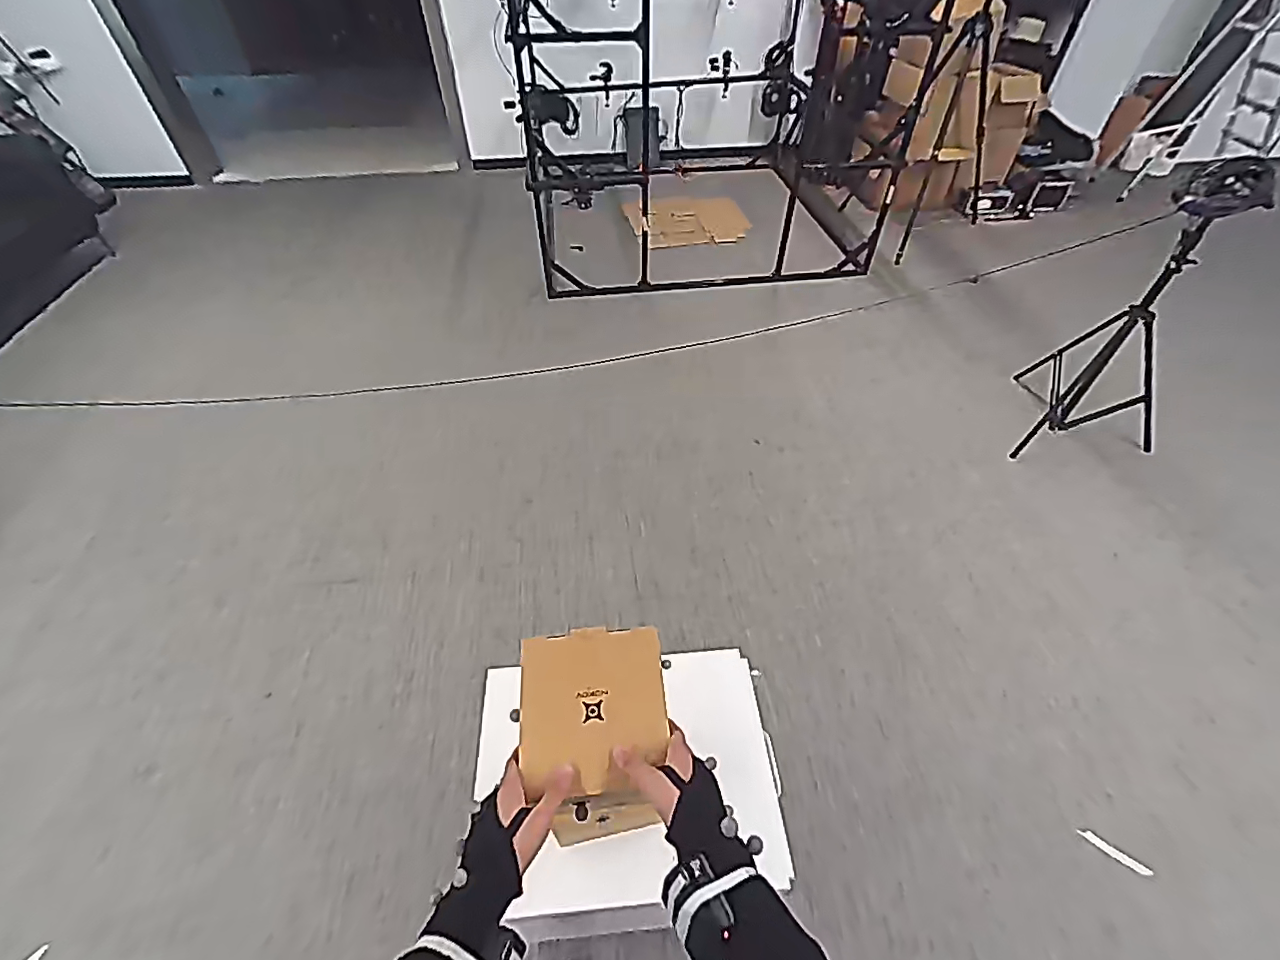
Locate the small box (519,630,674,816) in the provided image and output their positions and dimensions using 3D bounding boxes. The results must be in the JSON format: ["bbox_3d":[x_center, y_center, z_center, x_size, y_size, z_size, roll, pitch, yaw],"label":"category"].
[{"bbox_3d":[-0.052,0.306,0.671,0.168,0.176,0.179,-4,53,-5],"label":"small box"}]

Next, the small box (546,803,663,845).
[{"bbox_3d":[-0.060,0.469,0.879,0.179,0.176,0.168,-8,47,-9],"label":"small box"}]
